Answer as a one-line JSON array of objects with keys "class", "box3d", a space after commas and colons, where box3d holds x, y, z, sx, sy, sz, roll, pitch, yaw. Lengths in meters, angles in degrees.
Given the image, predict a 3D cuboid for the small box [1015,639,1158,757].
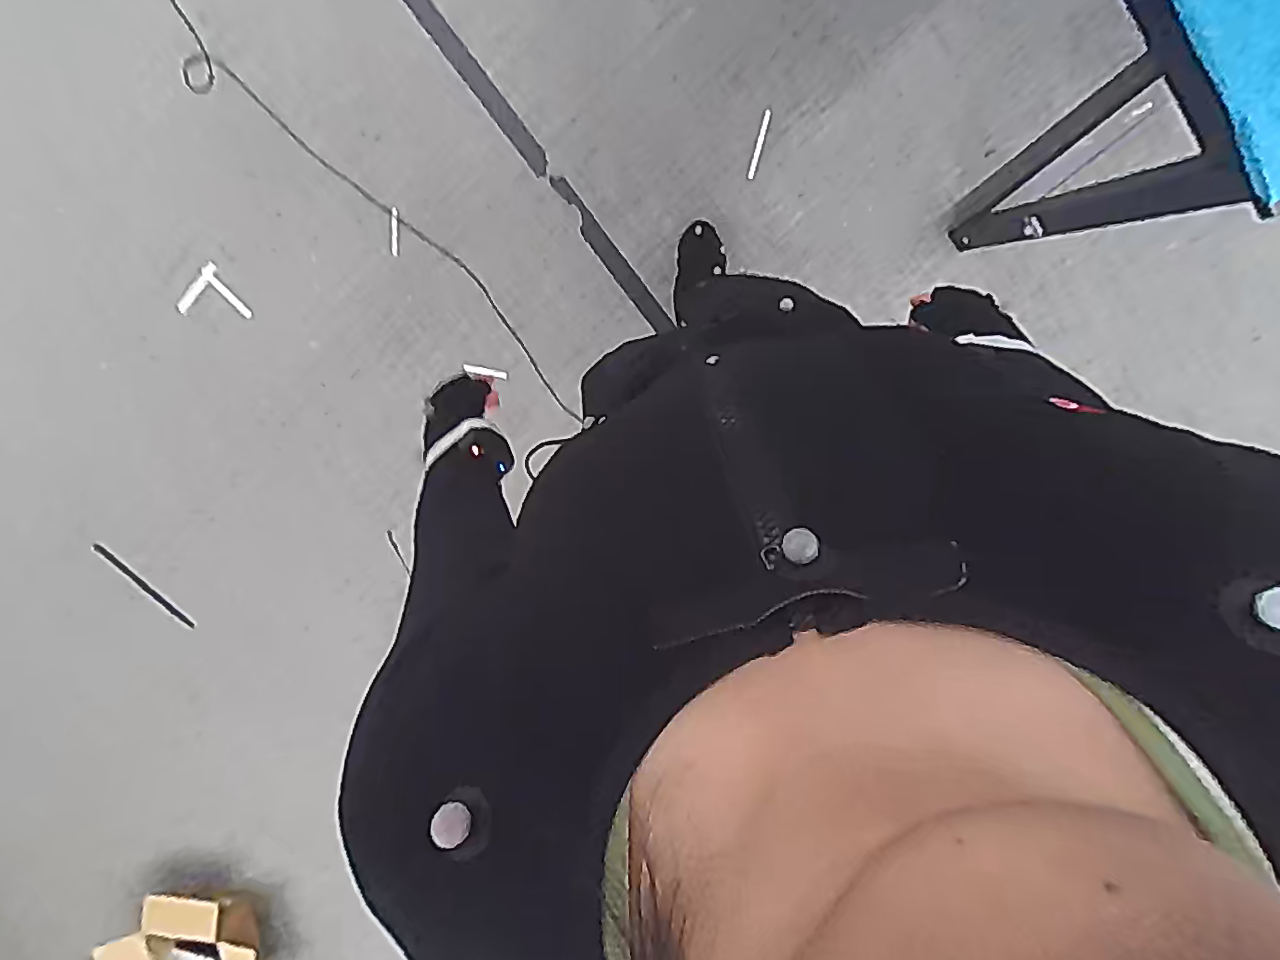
[{"class": "small box", "box3d": [1.090, 0.530, 1.336, 0.179, 0.176, 0.168, 36, 108, -5]}]
